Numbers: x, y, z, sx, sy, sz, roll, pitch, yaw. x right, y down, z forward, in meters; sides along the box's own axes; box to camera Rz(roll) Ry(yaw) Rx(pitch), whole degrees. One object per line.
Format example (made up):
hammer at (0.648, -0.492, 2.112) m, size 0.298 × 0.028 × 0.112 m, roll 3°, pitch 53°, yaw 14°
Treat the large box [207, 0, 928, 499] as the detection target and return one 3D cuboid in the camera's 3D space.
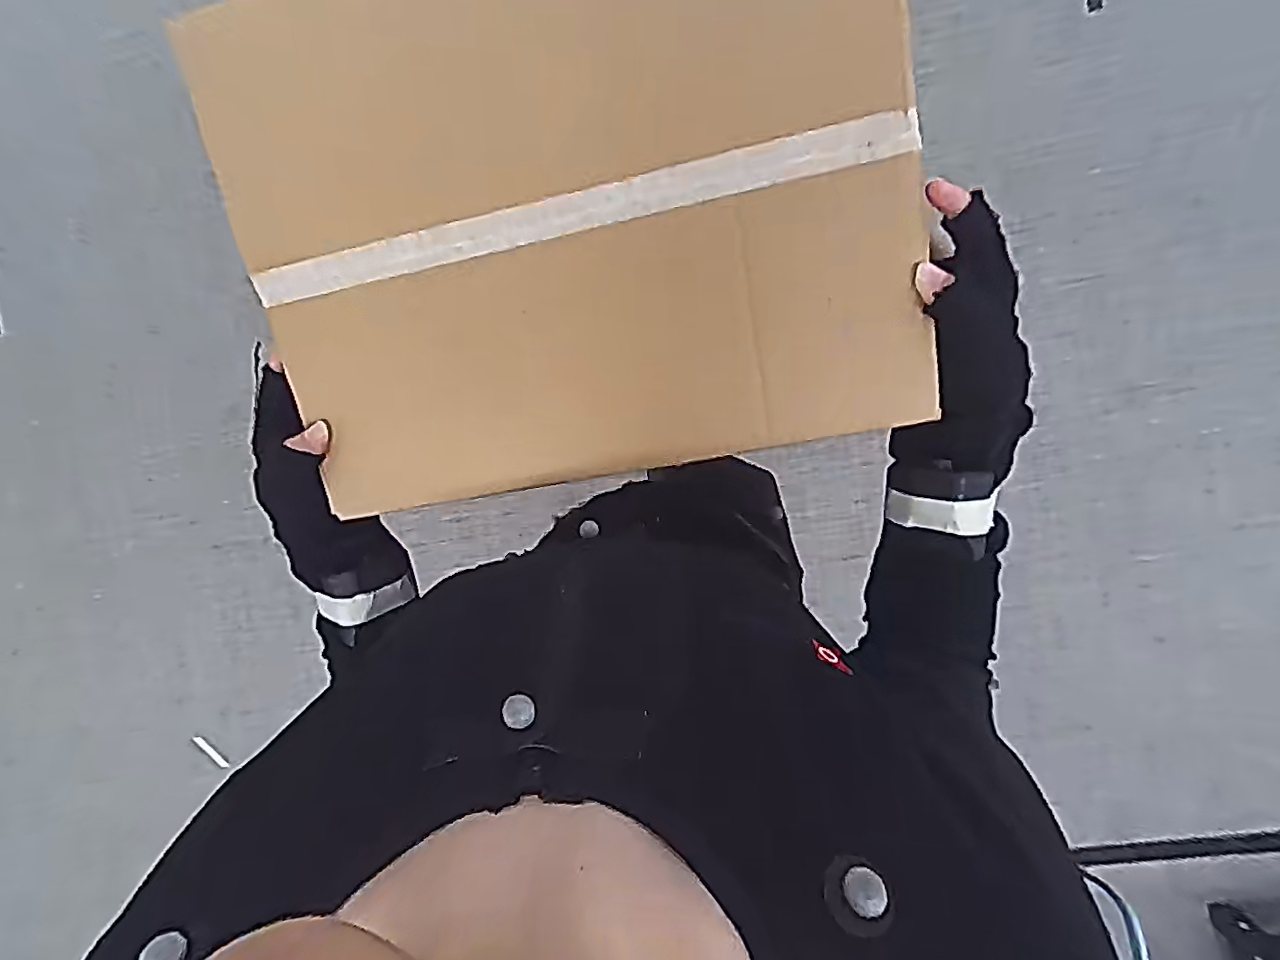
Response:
large box at (-0.030, -0.200, 0.475) m, size 0.408 × 0.320 × 0.320 m, roll -10°, pitch 103°, yaw 8°
